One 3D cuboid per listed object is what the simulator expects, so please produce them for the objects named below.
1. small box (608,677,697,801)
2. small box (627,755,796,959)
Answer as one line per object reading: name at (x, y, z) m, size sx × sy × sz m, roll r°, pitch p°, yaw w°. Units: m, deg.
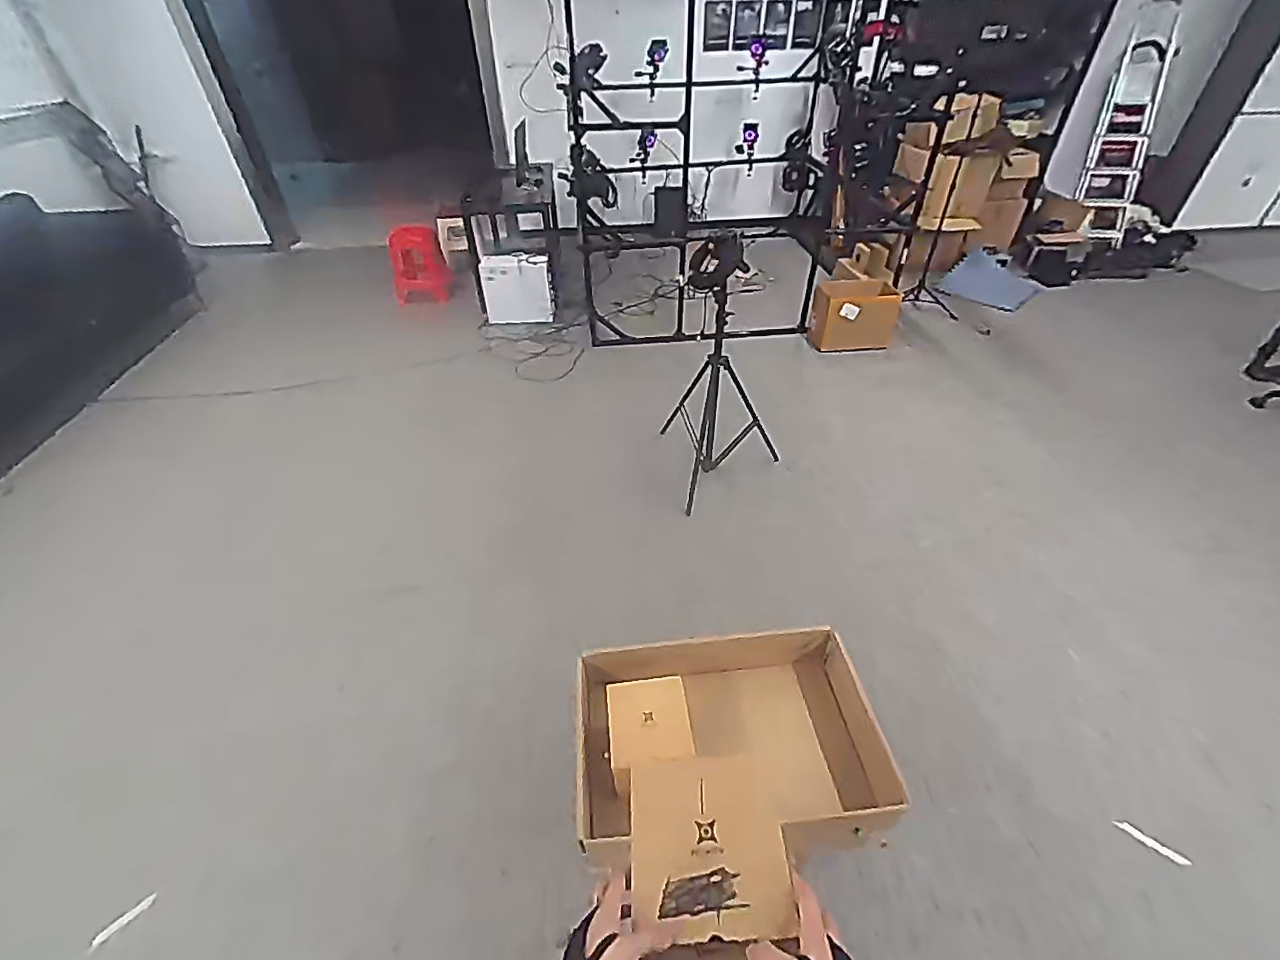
small box at (0.022, 0.548, 1.147) m, size 0.168 × 0.176 × 0.179 m, roll -6°, pitch 41°, yaw -4°
small box at (0.079, 0.449, 0.627) m, size 0.168 × 0.176 × 0.179 m, roll -6°, pitch 39°, yaw 4°
